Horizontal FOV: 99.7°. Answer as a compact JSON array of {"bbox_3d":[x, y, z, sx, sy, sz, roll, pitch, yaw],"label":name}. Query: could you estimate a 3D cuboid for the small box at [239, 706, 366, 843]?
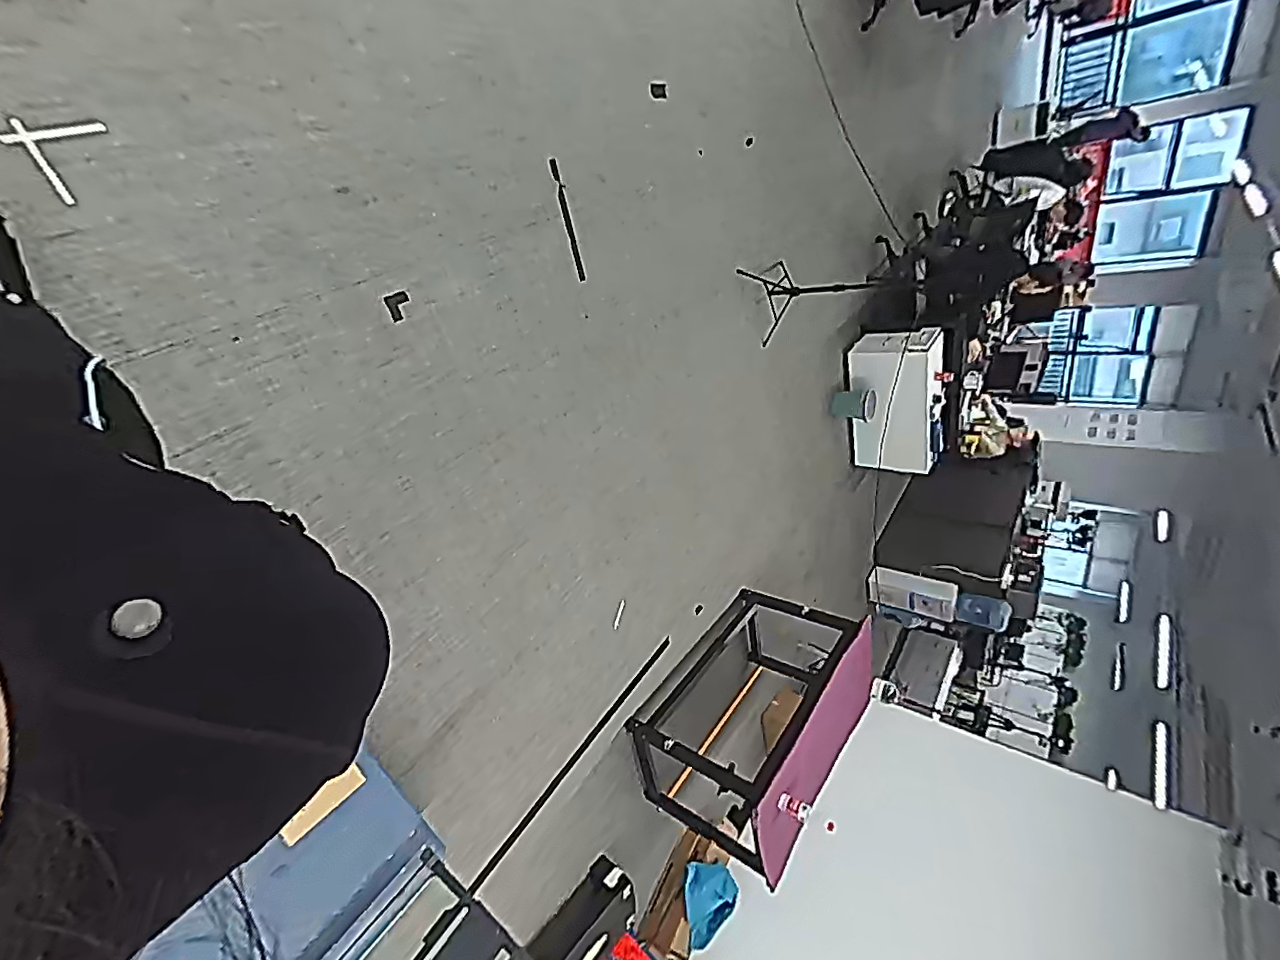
[{"bbox_3d":[-0.767,0.655,1.223,0.179,0.176,0.168,-37,126,-41],"label":"small box"}]
